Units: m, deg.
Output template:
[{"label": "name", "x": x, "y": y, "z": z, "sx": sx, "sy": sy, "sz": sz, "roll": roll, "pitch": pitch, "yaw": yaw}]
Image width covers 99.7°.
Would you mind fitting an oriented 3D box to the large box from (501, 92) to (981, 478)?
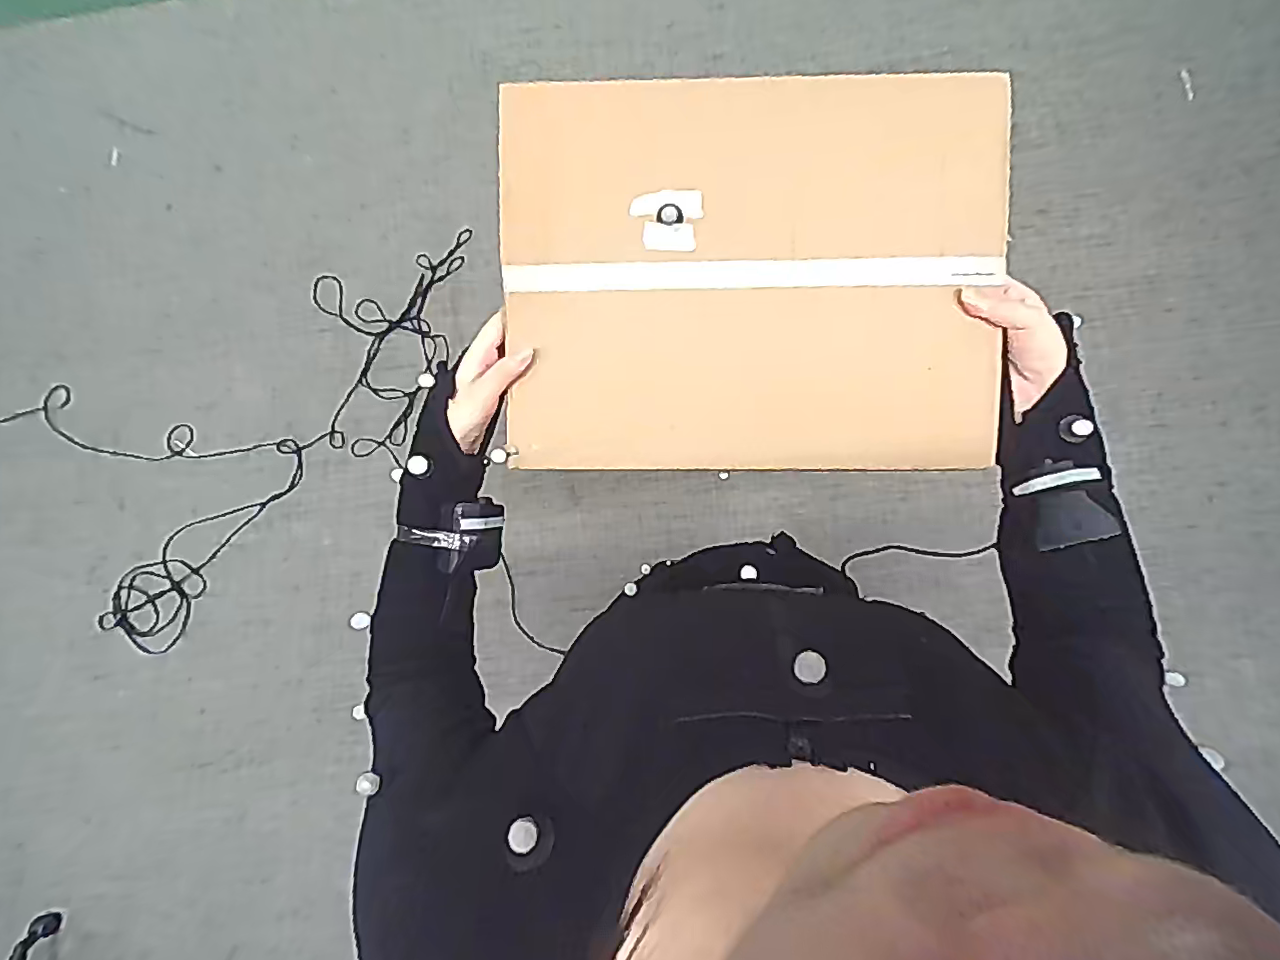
[{"label": "large box", "x": 0.092, "y": -0.171, "z": 0.609, "sx": 0.408, "sy": 0.320, "sz": 0.320, "roll": 0, "pitch": 94, "yaw": 4}]
